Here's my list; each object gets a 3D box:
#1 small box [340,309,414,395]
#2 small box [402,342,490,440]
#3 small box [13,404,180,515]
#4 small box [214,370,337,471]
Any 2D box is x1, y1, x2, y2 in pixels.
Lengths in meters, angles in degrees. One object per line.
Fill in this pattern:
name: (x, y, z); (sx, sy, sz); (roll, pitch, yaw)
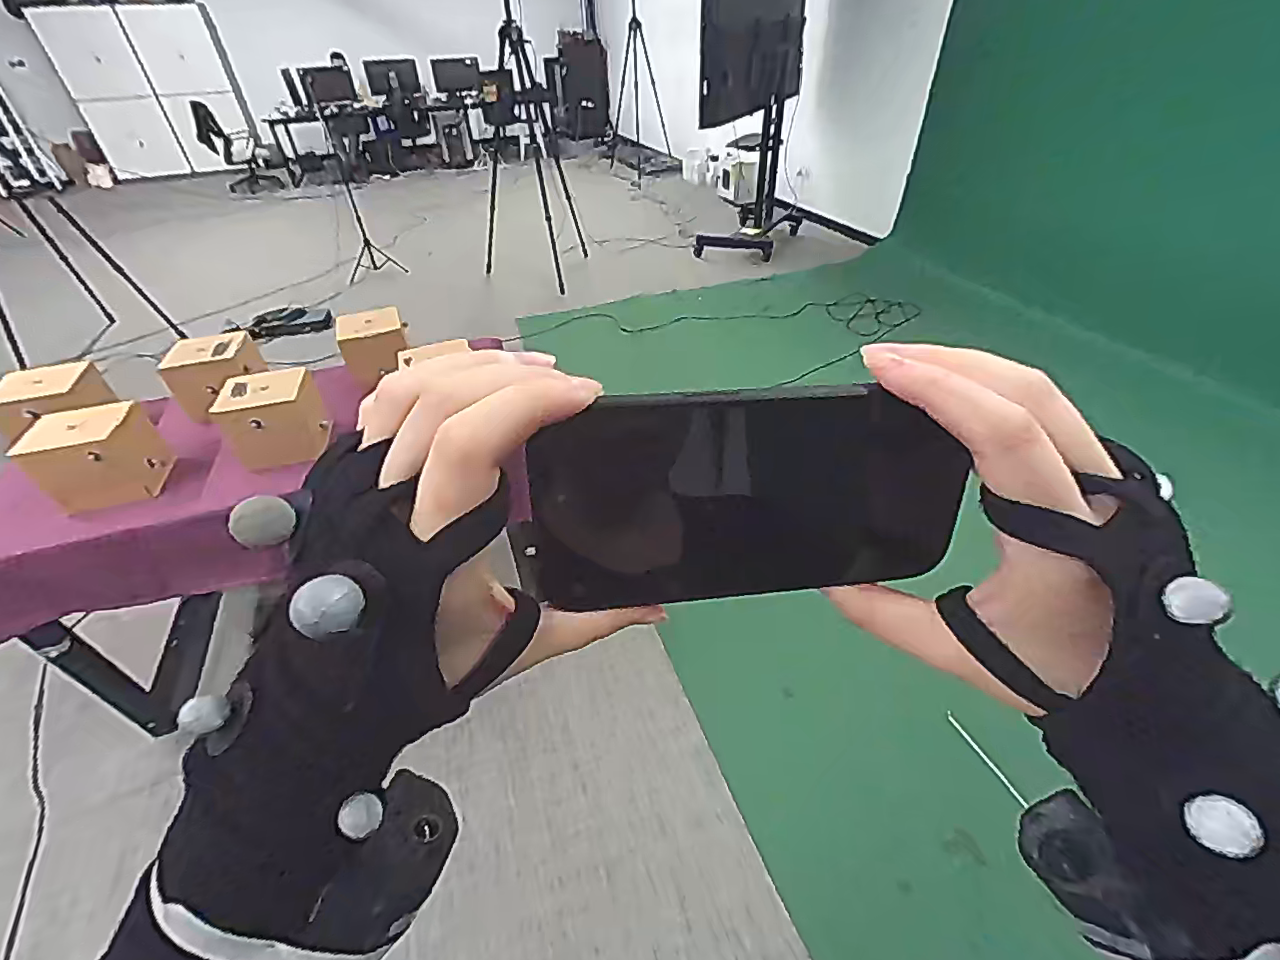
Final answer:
small box: (-0.743, -0.369, 1.556); (0.168, 0.176, 0.179); (-17, 43, -15)
small box: (-0.487, -0.226, 1.372); (0.179, 0.176, 0.168); (-15, 41, -15)
small box: (-1.186, -0.044, 1.200); (0.179, 0.176, 0.168); (-13, 41, -14)
small box: (-0.861, -0.141, 1.295); (0.179, 0.176, 0.168); (-12, 41, -12)
